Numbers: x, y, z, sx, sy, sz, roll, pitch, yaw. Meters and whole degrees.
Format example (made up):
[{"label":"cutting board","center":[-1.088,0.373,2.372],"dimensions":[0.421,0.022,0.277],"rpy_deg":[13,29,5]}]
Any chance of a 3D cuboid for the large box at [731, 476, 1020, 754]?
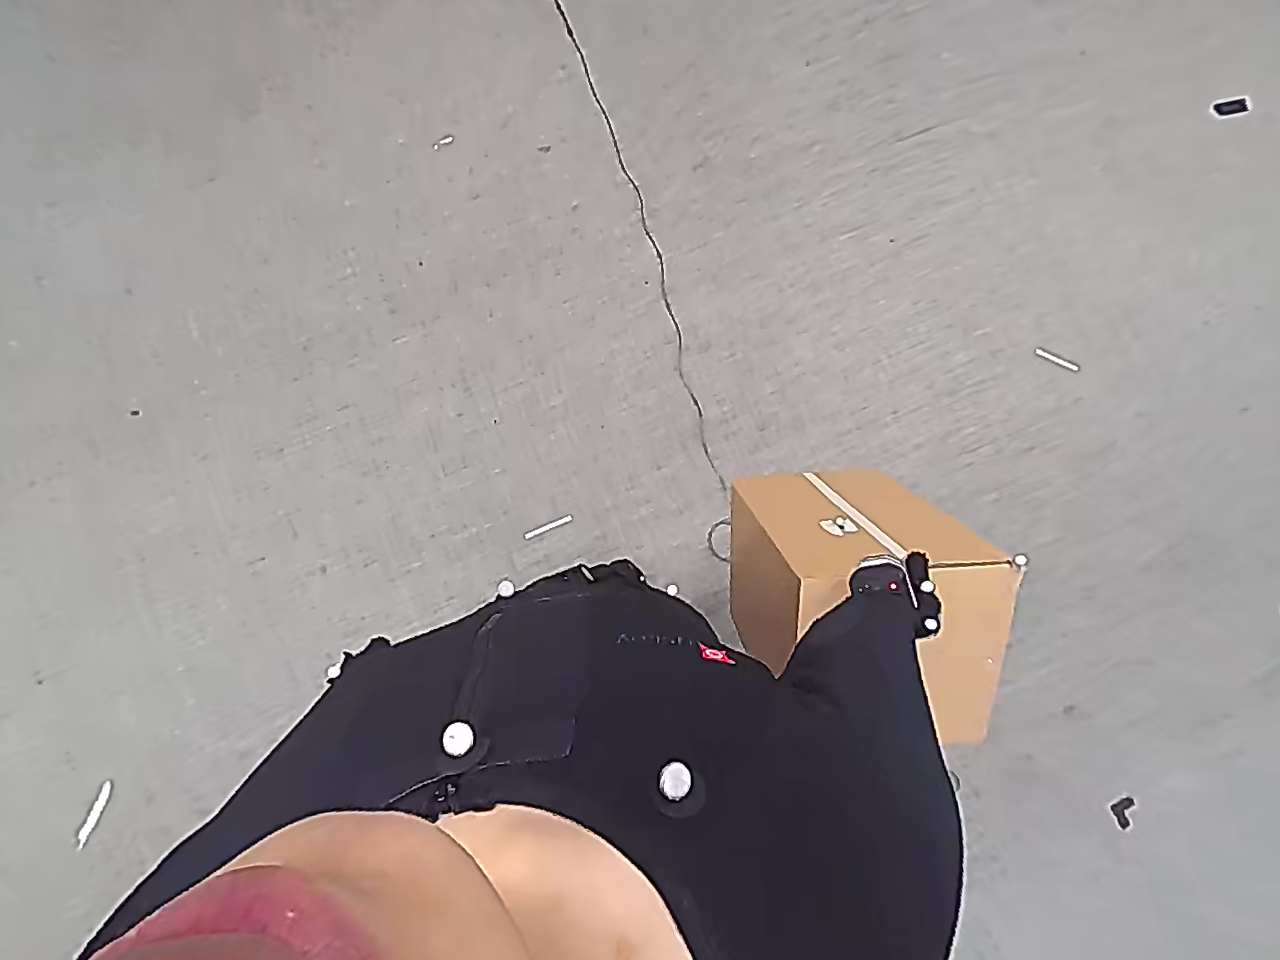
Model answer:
[{"label":"large box","center":[0.365,0.209,0.975],"dimensions":[0.320,0.408,0.320],"rpy_deg":[-4,110,-3]}]
